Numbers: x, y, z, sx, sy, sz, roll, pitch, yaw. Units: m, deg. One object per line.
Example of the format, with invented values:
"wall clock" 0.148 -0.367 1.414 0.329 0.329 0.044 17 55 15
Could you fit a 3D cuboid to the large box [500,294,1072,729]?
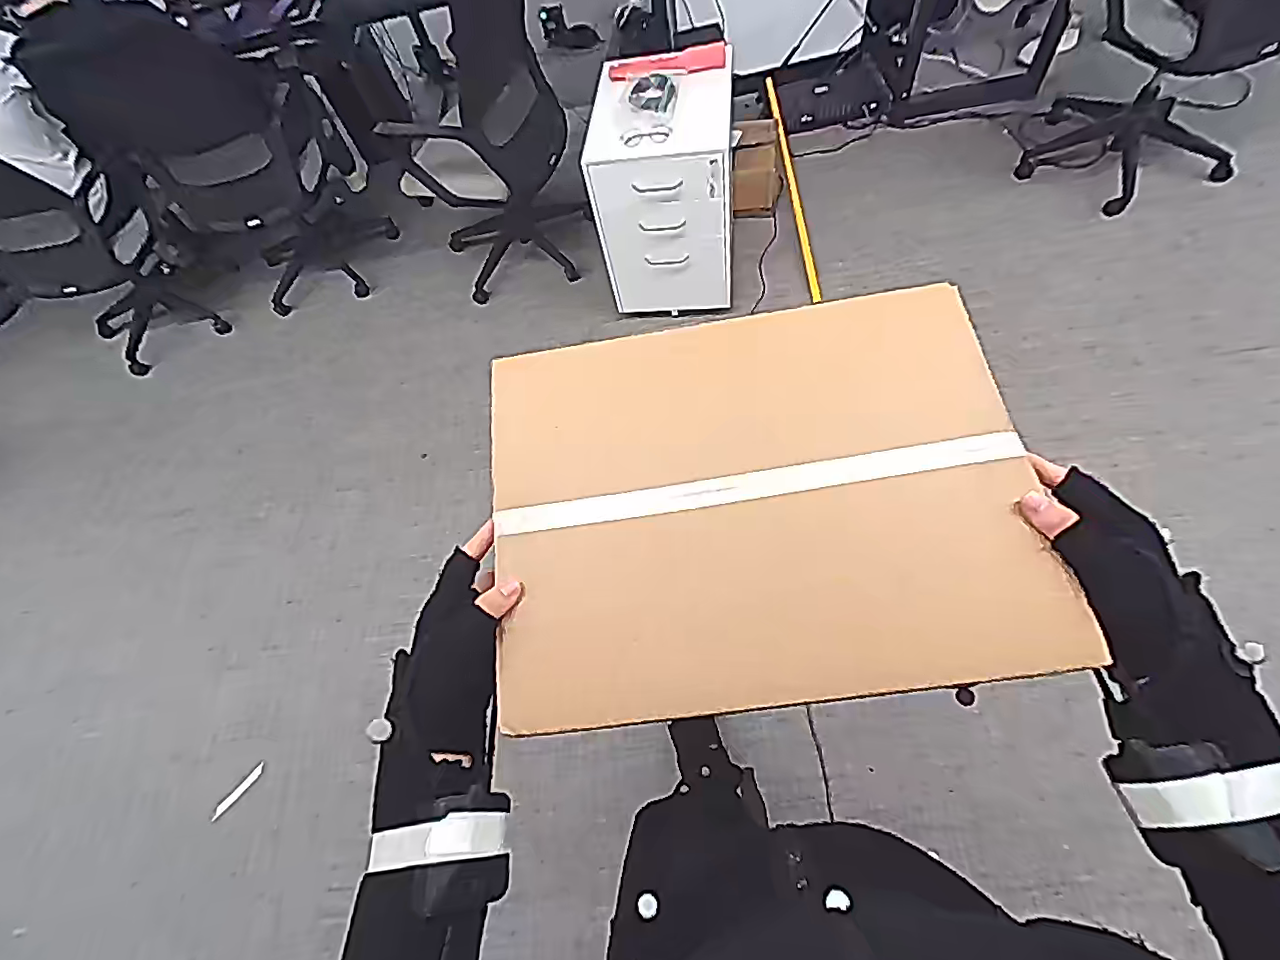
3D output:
"large box" 0.103 0.059 0.572 0.408 0.320 0.320 -9 68 5
